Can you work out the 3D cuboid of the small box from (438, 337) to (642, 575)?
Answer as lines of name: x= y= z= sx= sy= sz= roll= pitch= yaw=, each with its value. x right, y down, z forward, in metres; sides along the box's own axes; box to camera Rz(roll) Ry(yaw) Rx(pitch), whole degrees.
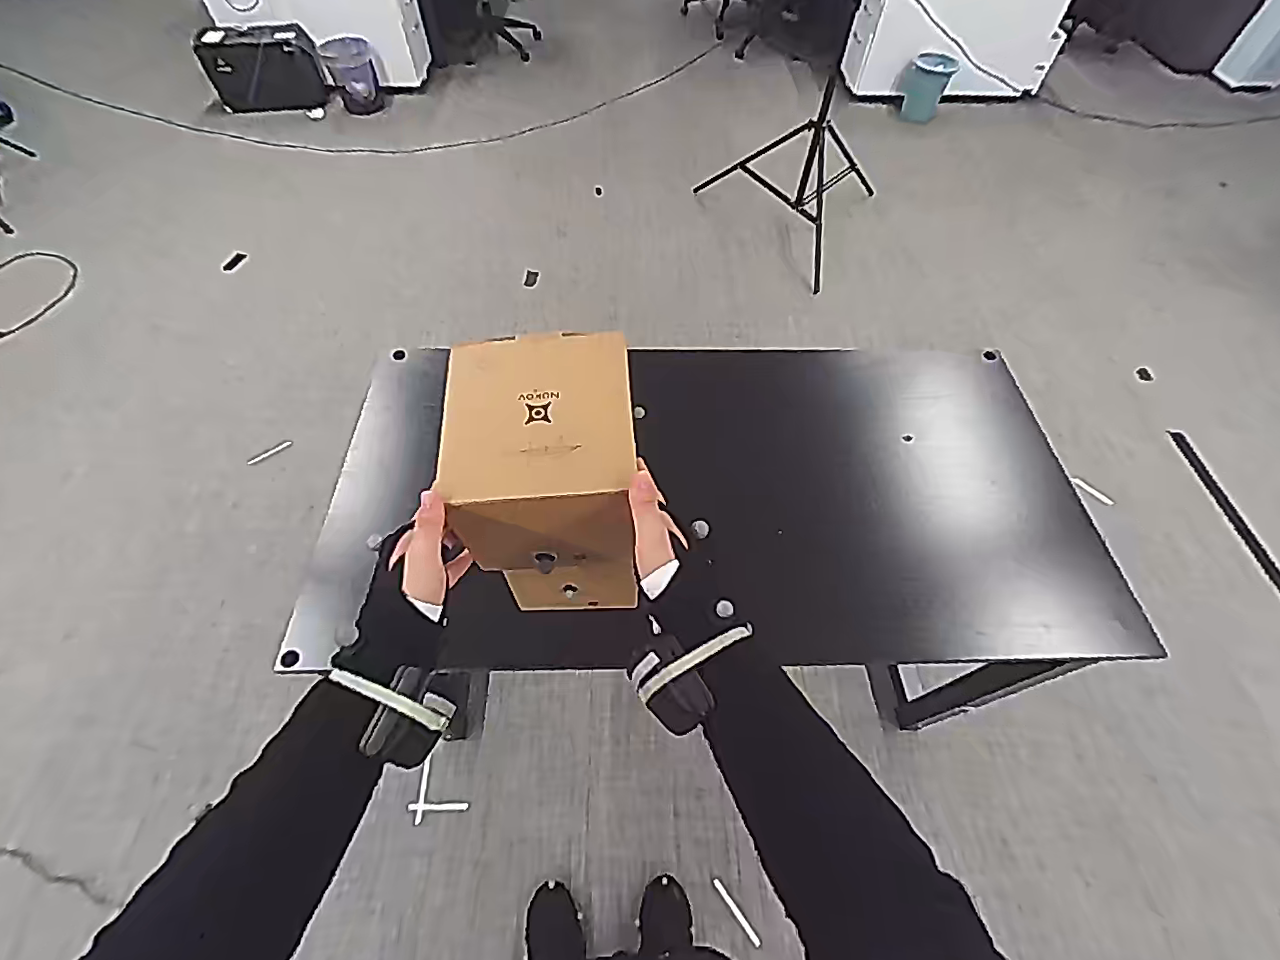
small box: x=-0.087 y=-0.018 z=0.544 sx=0.168 sy=0.176 sz=0.179 roll=-4 pitch=62 yaw=-2

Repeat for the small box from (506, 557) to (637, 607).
small box: x=-0.087 y=0.071 z=0.753 sx=0.168 sy=0.176 sz=0.179 roll=-1 pitch=56 yaw=-2
